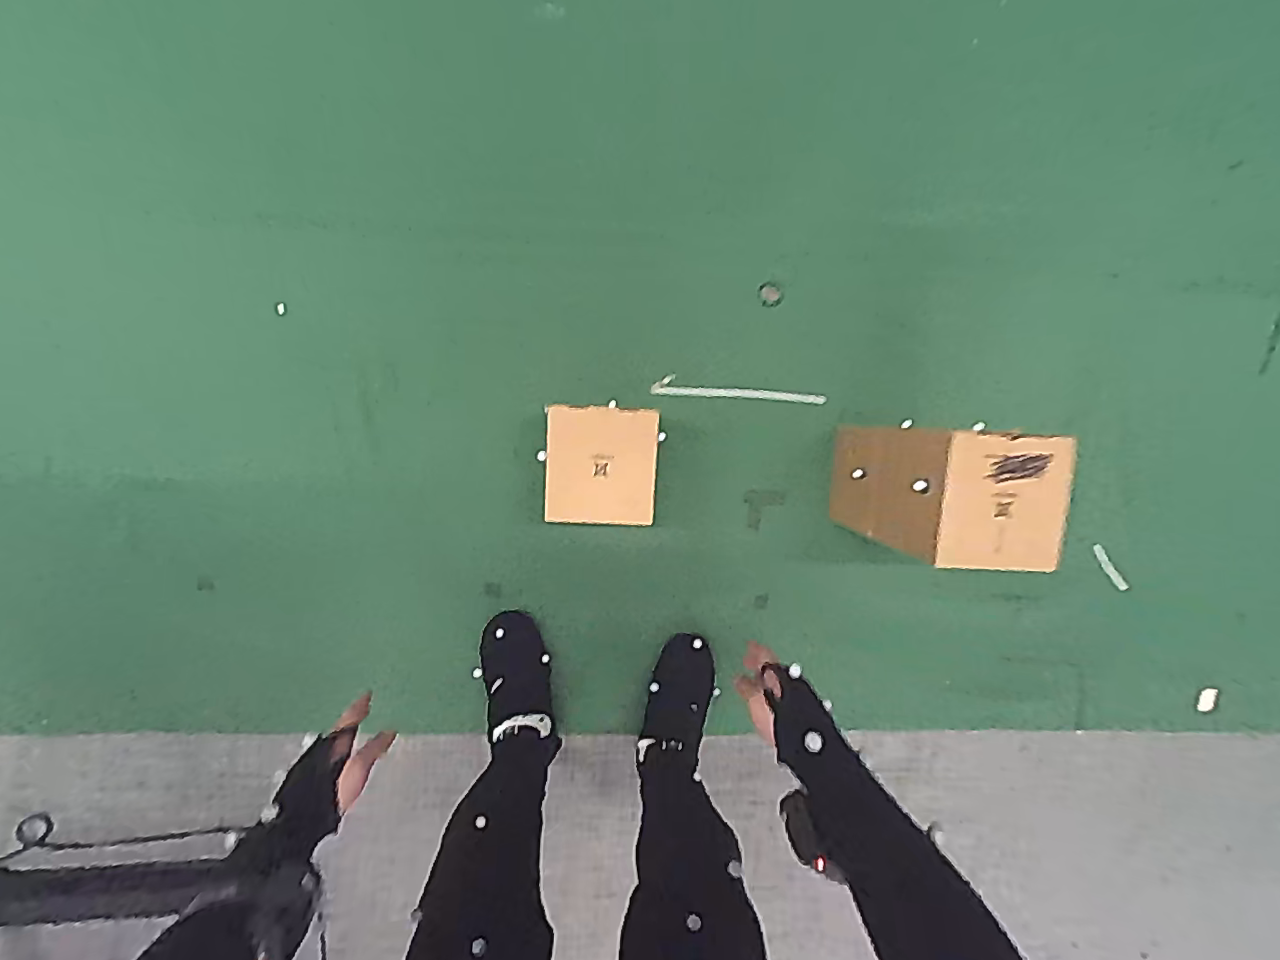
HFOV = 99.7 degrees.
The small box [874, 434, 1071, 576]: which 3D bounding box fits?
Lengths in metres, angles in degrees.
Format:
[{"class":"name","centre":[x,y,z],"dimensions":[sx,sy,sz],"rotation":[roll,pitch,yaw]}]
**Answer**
[{"class":"small box","centre":[0.456,0.027,0.768],"dimensions":[0.168,0.176,0.179],"rotation":[3,96,-5]}]

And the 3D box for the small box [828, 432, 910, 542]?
[{"class":"small box","centre":[0.440,0.009,0.931],"dimensions":[0.168,0.176,0.179],"rotation":[4,96,-5]}]

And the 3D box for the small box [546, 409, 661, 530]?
[{"class":"small box","centre":[-0.060,-0.023,0.891],"dimensions":[0.168,0.176,0.179],"rotation":[3,95,-4]}]
